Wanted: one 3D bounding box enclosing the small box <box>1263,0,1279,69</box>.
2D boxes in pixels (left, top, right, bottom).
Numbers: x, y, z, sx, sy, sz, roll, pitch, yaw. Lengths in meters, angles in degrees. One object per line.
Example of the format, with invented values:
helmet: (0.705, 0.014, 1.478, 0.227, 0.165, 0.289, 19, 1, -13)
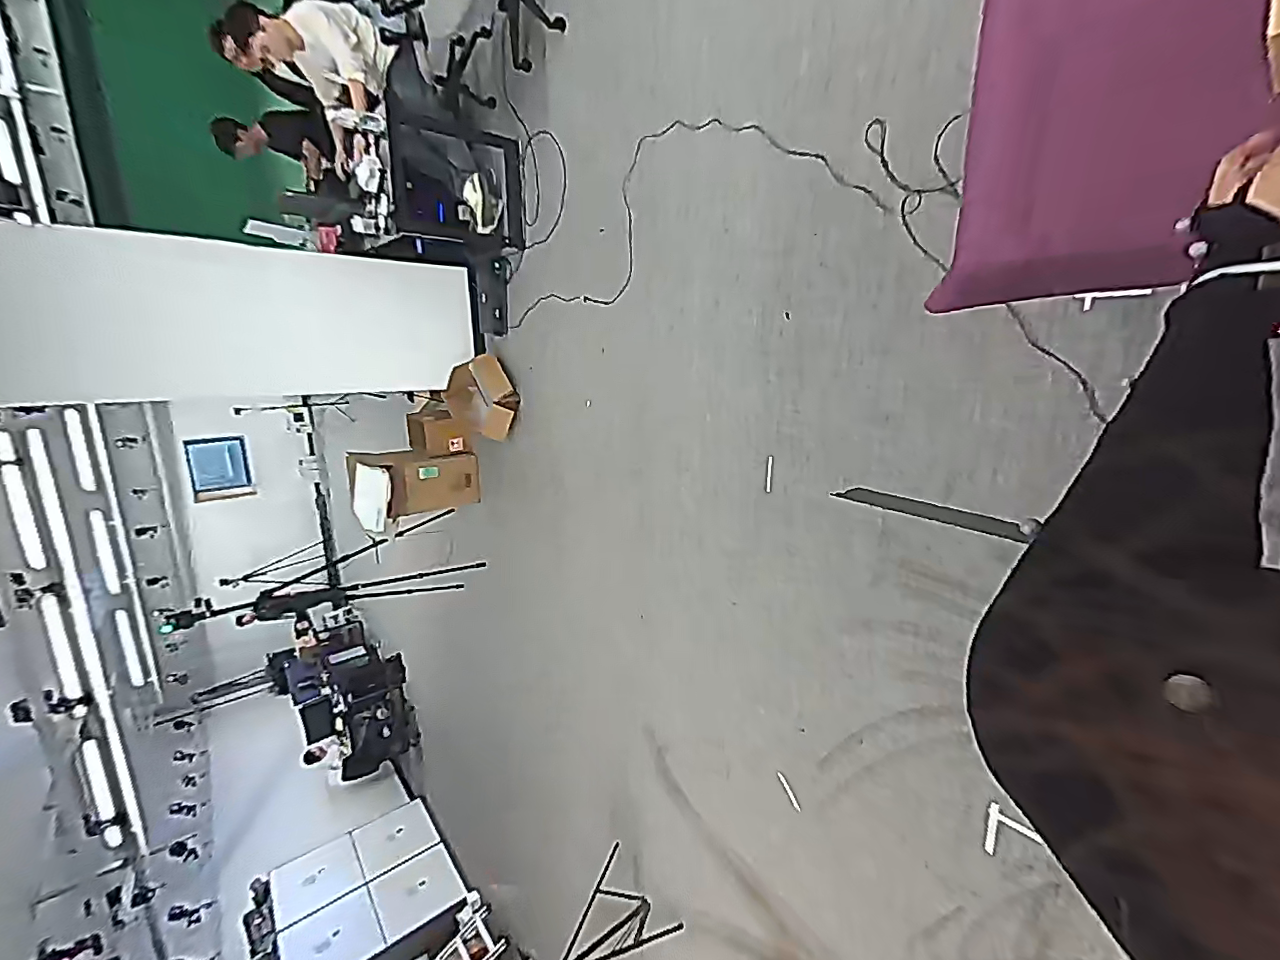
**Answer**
small box: (0.635, -0.467, 0.428, 0.168, 0.176, 0.179, 11, 108, 50)
